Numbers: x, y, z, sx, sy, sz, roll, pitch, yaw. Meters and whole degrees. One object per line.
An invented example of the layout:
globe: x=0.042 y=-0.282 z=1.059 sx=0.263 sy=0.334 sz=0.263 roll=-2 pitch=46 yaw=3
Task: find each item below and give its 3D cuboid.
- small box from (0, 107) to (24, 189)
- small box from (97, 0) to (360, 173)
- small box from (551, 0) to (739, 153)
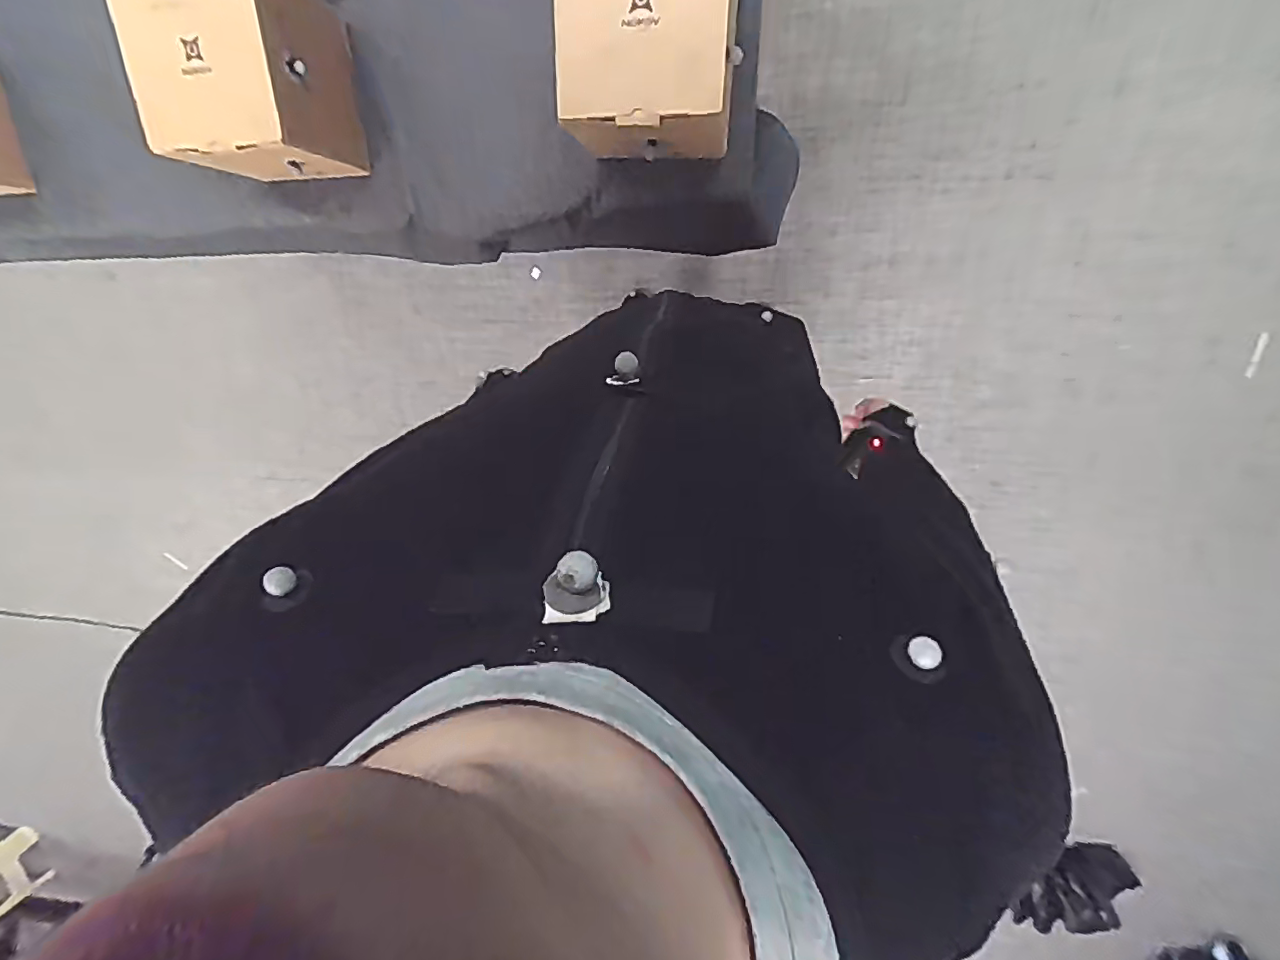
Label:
small box: x=-0.974 y=-0.482 z=0.687 sx=0.168 sy=0.176 sz=0.179 roll=2 pitch=110 yaw=7
small box: x=-0.455 y=-0.468 z=0.625 sx=0.168 sy=0.176 sz=0.179 roll=1 pitch=108 yaw=6
small box: x=0.013 y=-0.453 z=0.559 sx=0.168 sy=0.176 sz=0.179 roll=5 pitch=110 yaw=9
